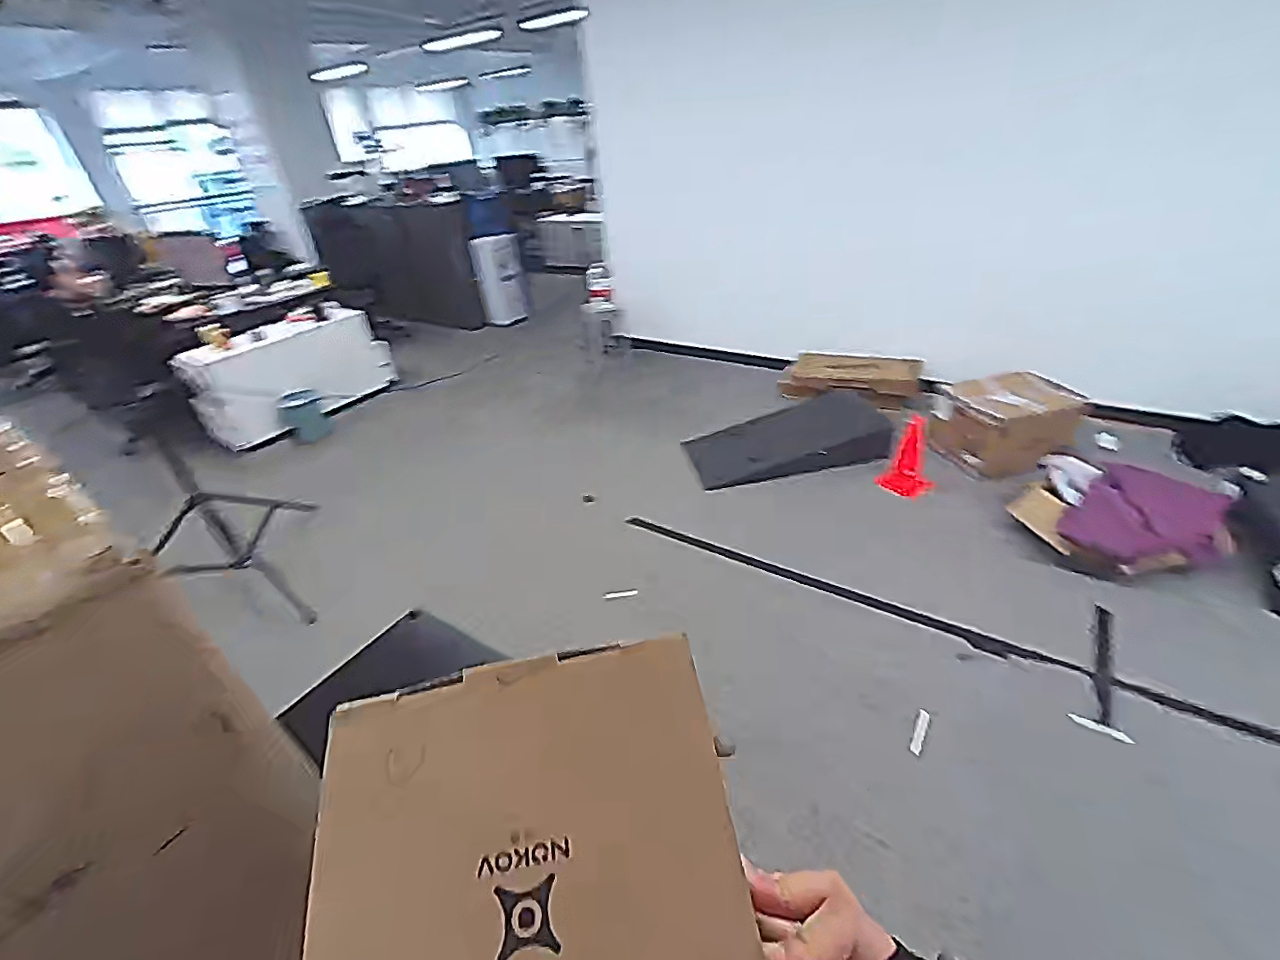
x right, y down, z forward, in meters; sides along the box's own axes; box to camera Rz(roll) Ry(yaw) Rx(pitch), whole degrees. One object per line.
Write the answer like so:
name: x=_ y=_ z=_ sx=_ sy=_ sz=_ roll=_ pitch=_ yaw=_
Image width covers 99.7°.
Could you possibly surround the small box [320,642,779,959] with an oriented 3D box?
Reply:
small box: x=-0.029 y=0.202 z=0.267 sx=0.168 sy=0.176 sz=0.179 roll=-12 pitch=58 yaw=0
